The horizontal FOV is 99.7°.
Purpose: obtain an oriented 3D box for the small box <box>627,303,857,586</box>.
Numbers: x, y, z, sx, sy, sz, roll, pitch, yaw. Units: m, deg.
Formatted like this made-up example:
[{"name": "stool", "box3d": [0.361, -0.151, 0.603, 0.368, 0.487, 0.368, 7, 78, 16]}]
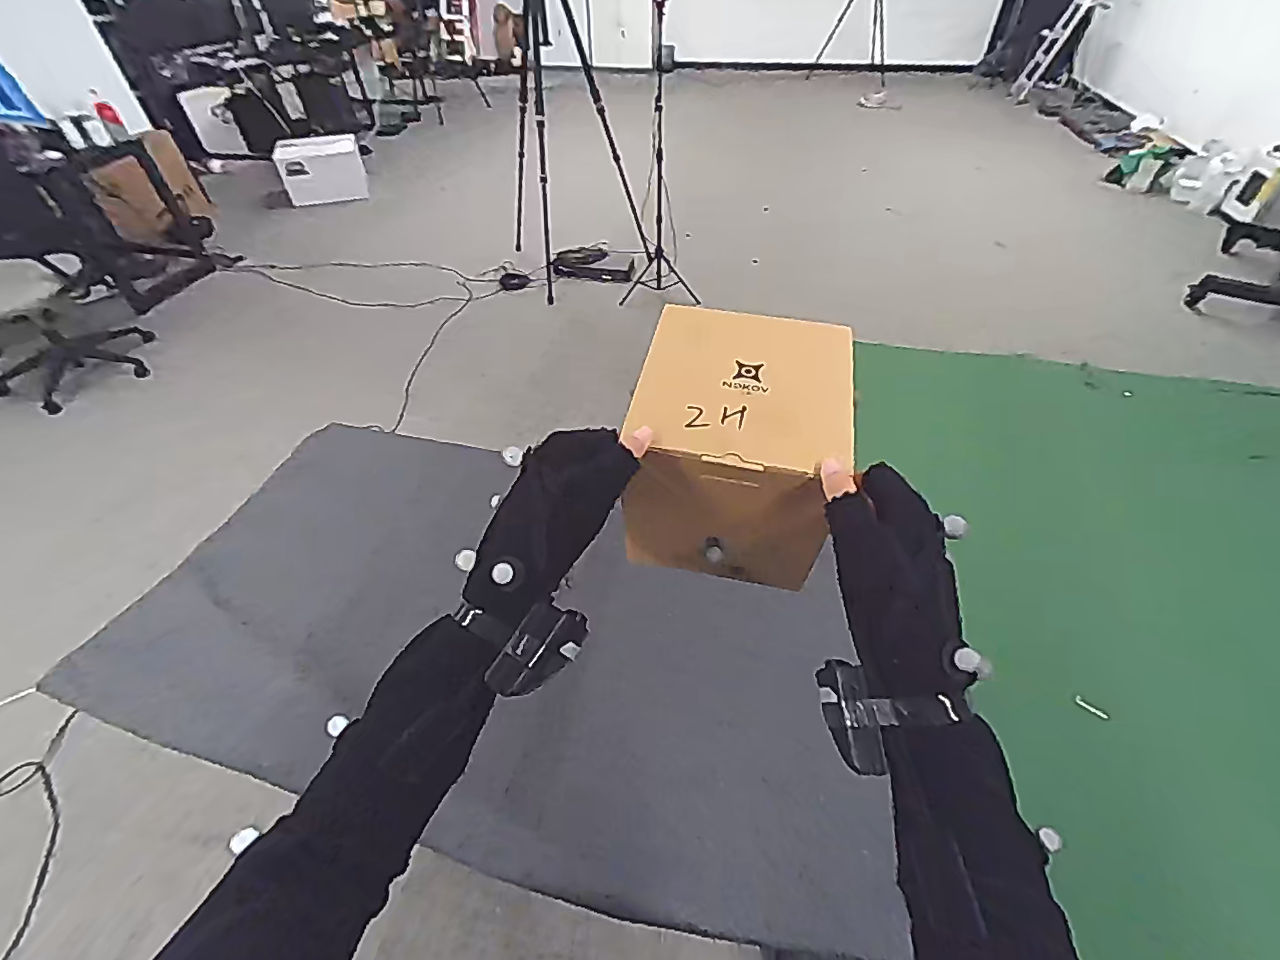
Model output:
[{"name": "small box", "box3d": [0.088, -0.031, 0.491, 0.168, 0.176, 0.179, 10, 52, 9]}]
